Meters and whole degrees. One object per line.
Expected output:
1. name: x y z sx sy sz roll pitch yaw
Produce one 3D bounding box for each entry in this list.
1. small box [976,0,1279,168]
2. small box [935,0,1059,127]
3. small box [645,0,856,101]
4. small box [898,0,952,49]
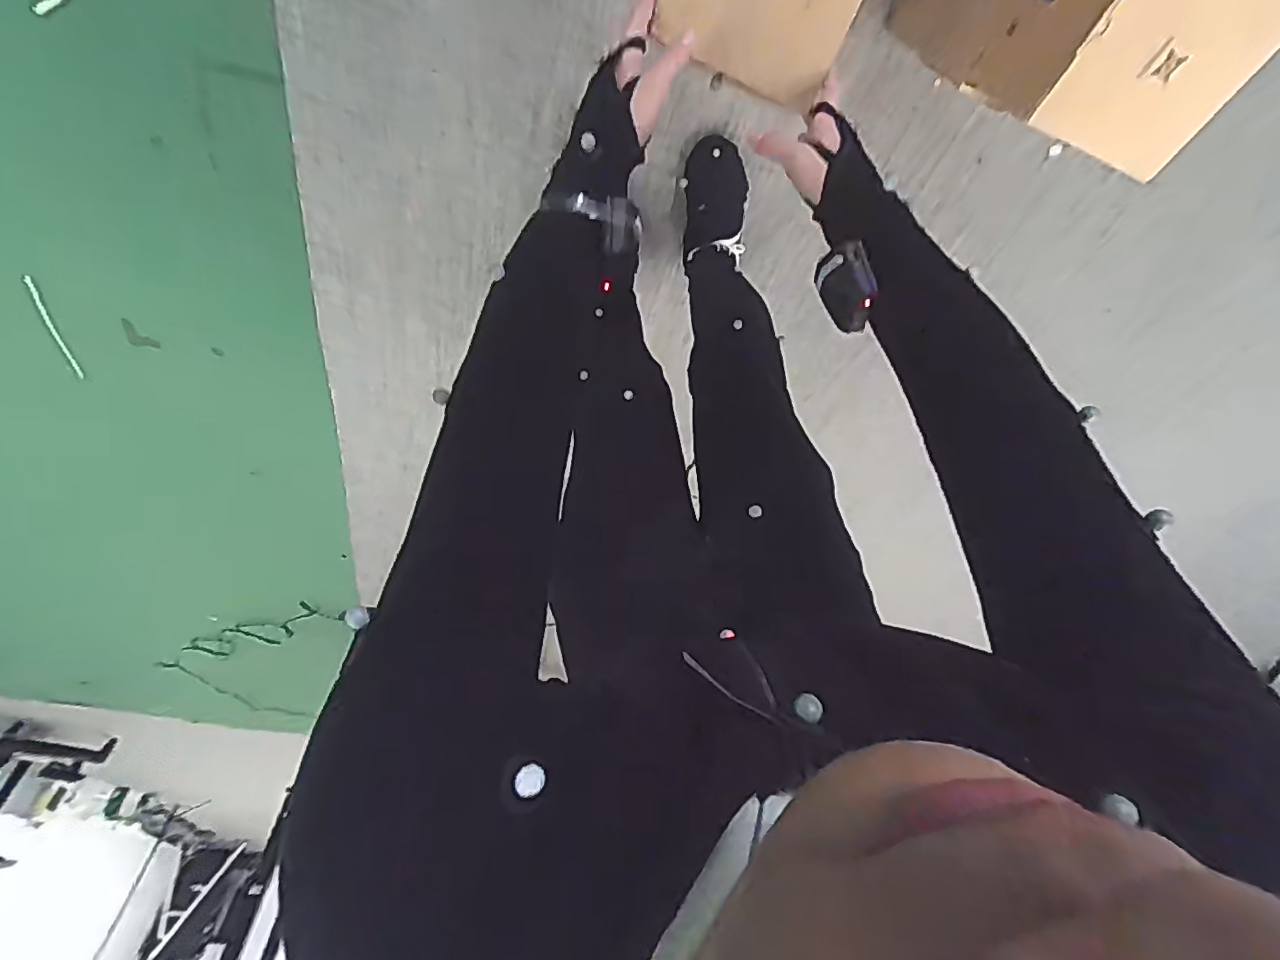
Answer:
1. small box: 0.512 -0.474 0.575 0.179 0.176 0.168 15 136 -12
2. small box: 0.509 -0.594 0.683 0.168 0.176 0.179 15 135 -13
3. small box: 0.112 -0.502 0.538 0.179 0.176 0.168 16 122 -14
4. small box: 0.514 -0.718 0.791 0.179 0.176 0.168 14 137 -12
